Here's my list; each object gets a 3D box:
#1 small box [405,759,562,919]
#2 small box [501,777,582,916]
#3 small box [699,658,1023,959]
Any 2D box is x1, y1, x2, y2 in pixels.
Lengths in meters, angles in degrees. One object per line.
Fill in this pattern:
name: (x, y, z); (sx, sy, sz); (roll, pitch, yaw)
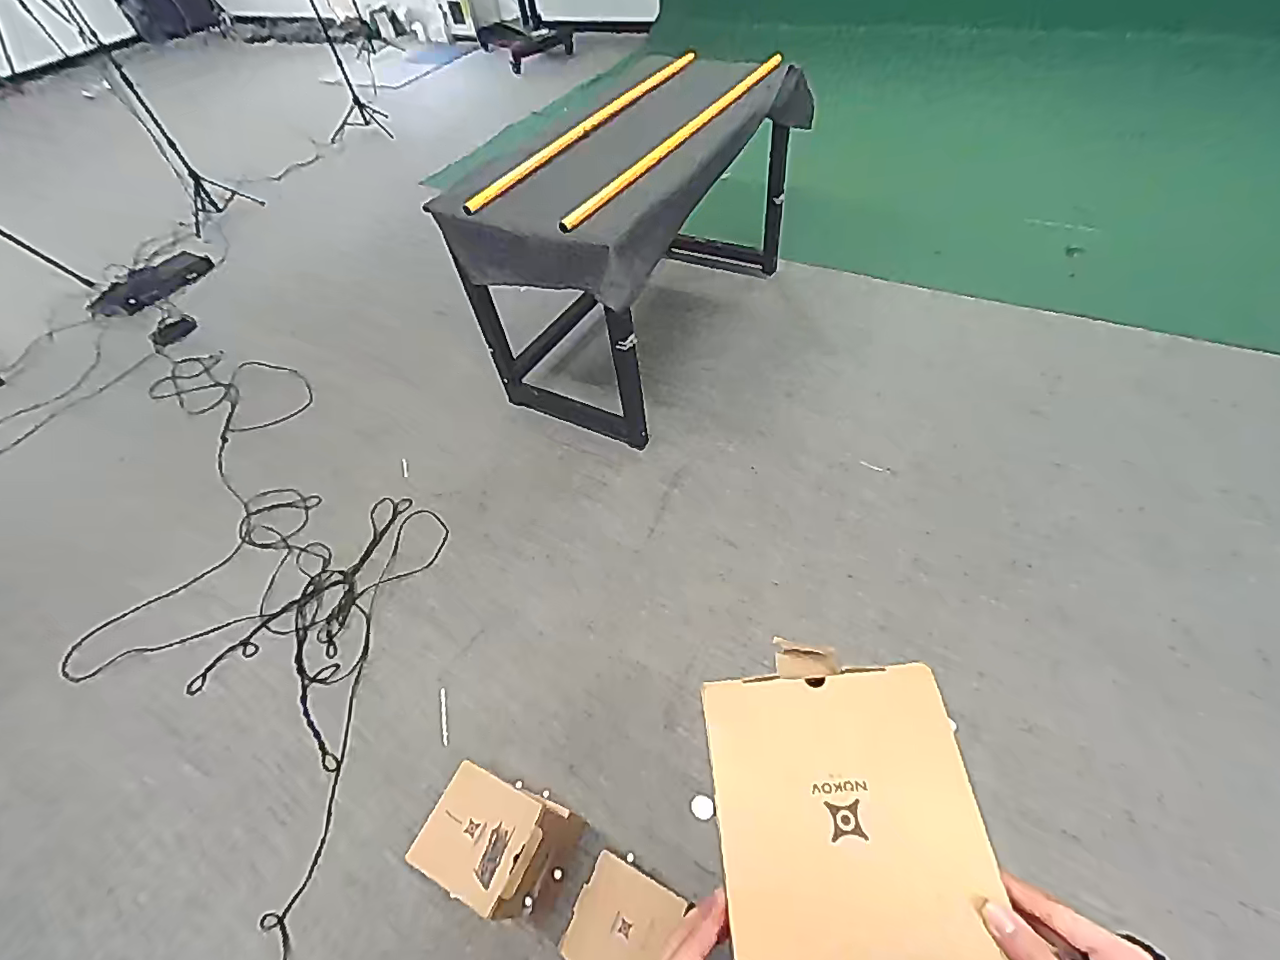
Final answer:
small box: (-0.259, 0.623, 0.943); (0.179, 0.176, 0.168); (17, 55, 21)
small box: (-0.229, 0.725, 1.071); (0.168, 0.176, 0.179); (13, 55, 18)
small box: (0.141, 0.251, 0.416); (0.168, 0.176, 0.179); (-8, 57, 5)
